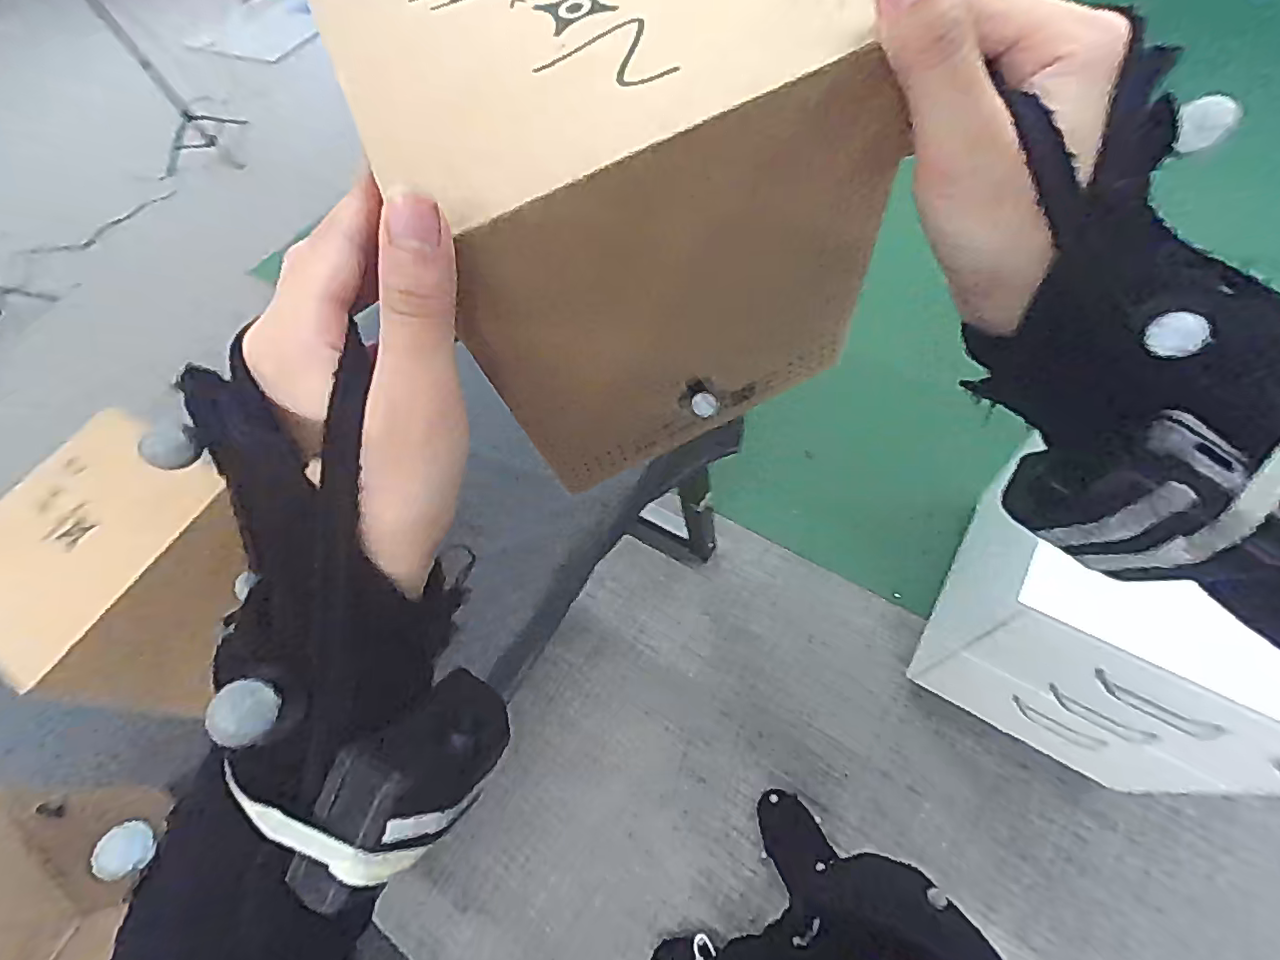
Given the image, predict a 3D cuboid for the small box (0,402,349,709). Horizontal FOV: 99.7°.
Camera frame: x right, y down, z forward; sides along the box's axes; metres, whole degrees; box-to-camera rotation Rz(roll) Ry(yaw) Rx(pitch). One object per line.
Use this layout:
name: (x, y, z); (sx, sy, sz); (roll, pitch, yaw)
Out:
small box: (-0.391, 0.070, 0.449); (0.179, 0.176, 0.168); (23, 66, 21)
